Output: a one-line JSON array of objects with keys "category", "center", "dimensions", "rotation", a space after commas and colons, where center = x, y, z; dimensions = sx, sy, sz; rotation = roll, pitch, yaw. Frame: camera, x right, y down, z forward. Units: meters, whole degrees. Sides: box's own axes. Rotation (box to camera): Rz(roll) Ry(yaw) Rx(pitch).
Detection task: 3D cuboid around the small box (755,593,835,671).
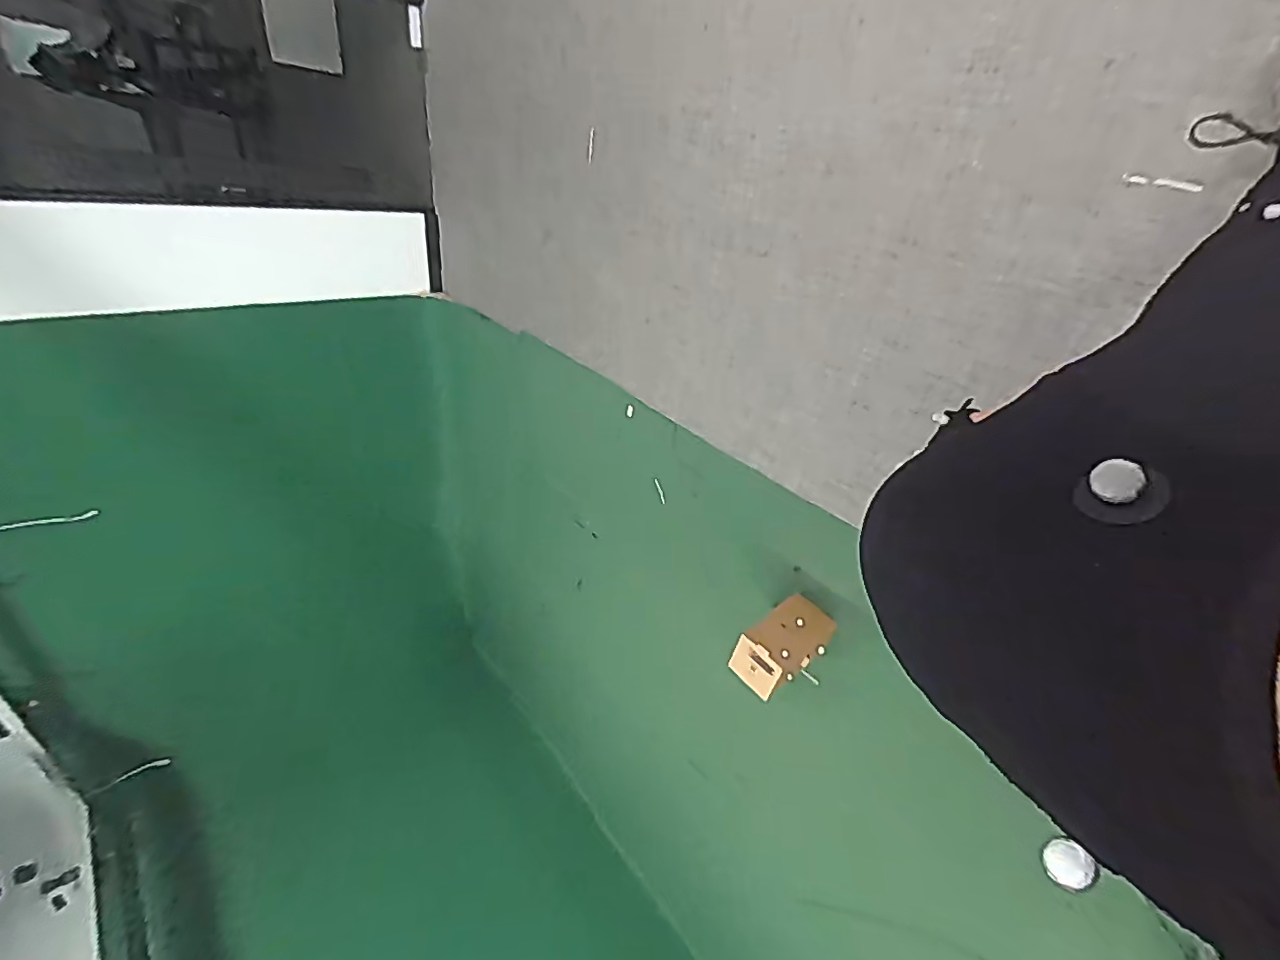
[{"category": "small box", "center": [0.537, 0.517, 1.875], "dimensions": [0.179, 0.176, 0.168], "rotation": [39, 132, 33]}]
